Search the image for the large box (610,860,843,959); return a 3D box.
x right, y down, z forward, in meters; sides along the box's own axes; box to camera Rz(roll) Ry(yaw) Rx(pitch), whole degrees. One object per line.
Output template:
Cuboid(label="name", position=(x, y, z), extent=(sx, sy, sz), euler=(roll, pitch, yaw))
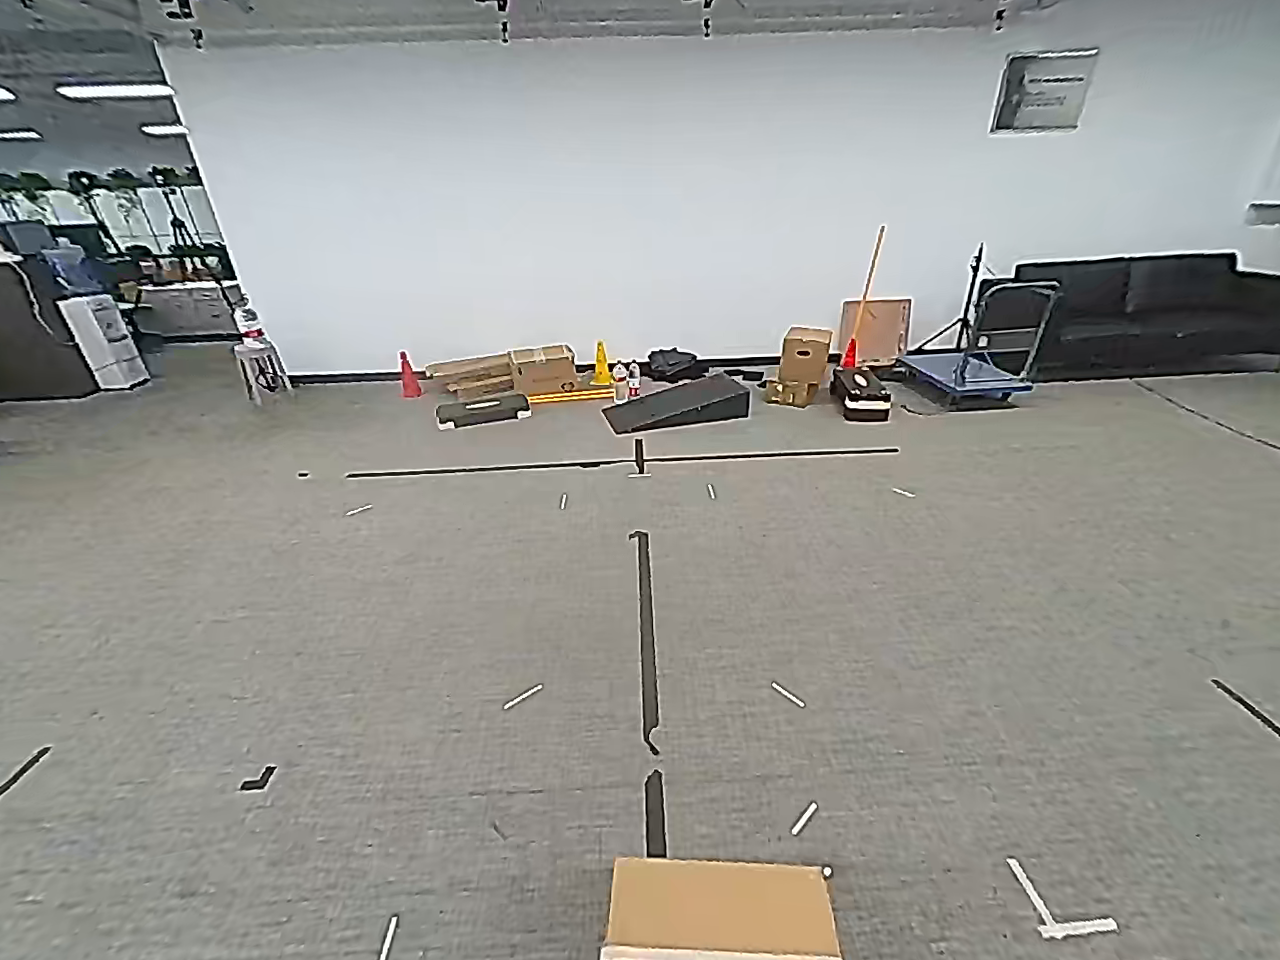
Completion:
Cuboid(label="large box", position=(0.147, 0.949, 0.983), extent=(0.408, 0.320, 0.320), euler=(1, 28, 3))
